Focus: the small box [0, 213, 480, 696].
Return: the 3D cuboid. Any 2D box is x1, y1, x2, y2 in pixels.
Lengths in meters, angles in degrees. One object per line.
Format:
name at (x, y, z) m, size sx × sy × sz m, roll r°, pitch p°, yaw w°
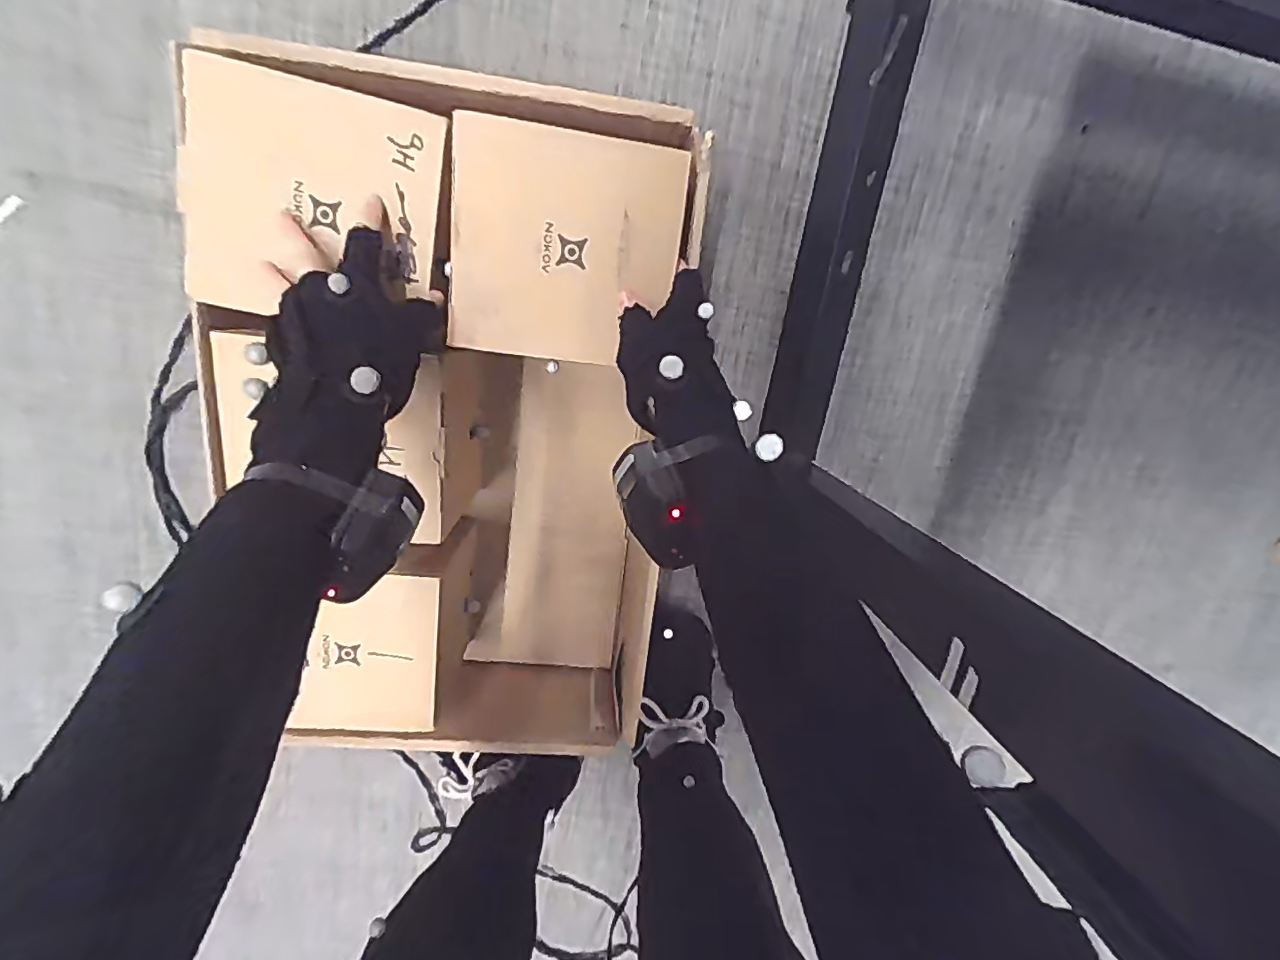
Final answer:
small box at (-0.225, -0.008, 0.296) m, size 0.176 × 0.179 × 0.168 m, roll 19°, pitch 116°, yaw -49°
